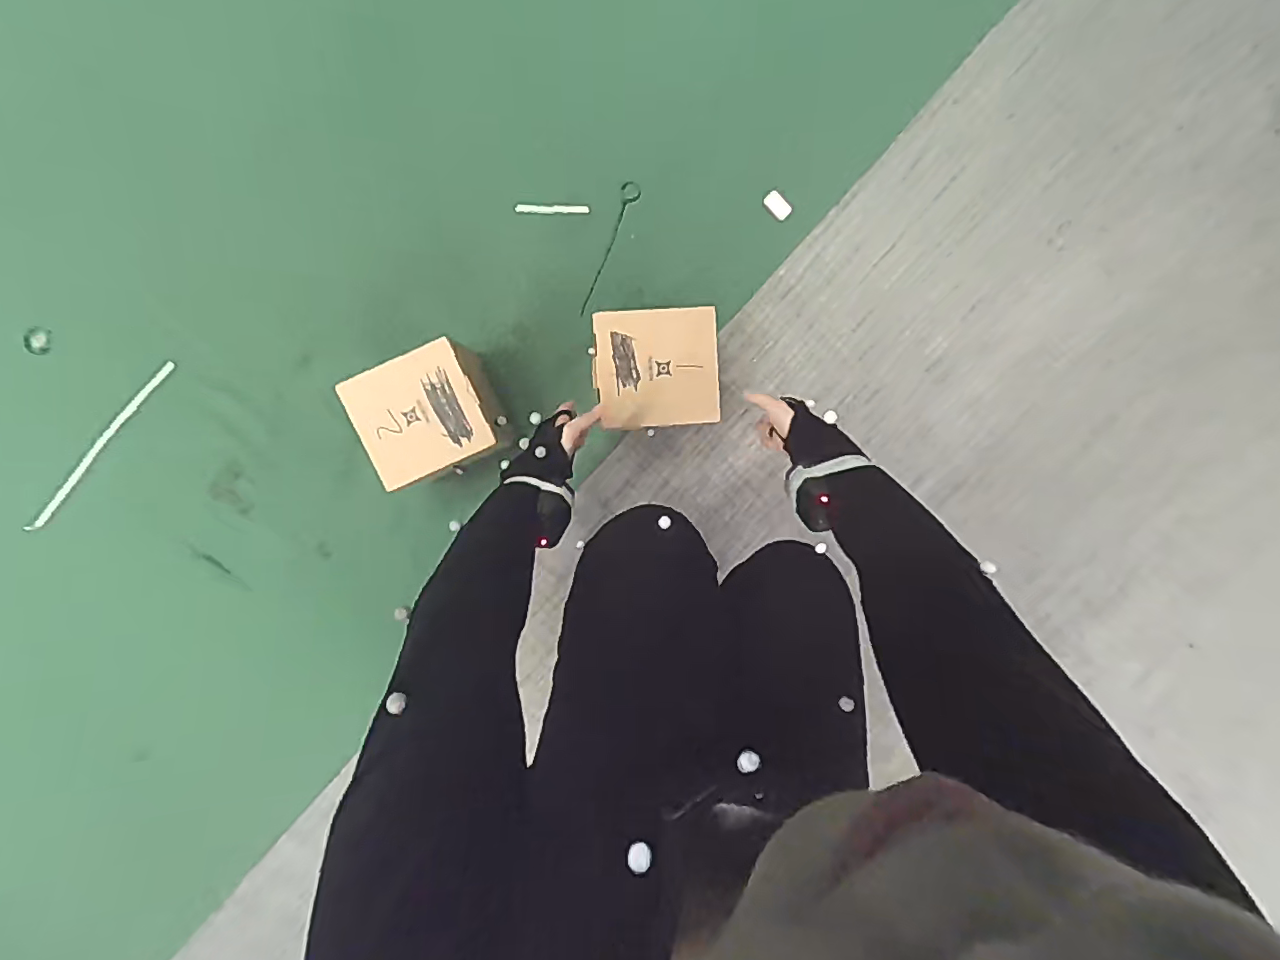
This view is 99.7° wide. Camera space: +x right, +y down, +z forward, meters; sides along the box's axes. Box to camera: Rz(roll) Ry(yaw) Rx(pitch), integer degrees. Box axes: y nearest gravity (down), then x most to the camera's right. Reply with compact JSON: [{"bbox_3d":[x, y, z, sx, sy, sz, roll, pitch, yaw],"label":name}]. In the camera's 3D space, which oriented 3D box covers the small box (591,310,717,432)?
[{"bbox_3d":[0.019,-0.162,0.849,0.179,0.176,0.168,-3,95,-3],"label":"small box"}]
